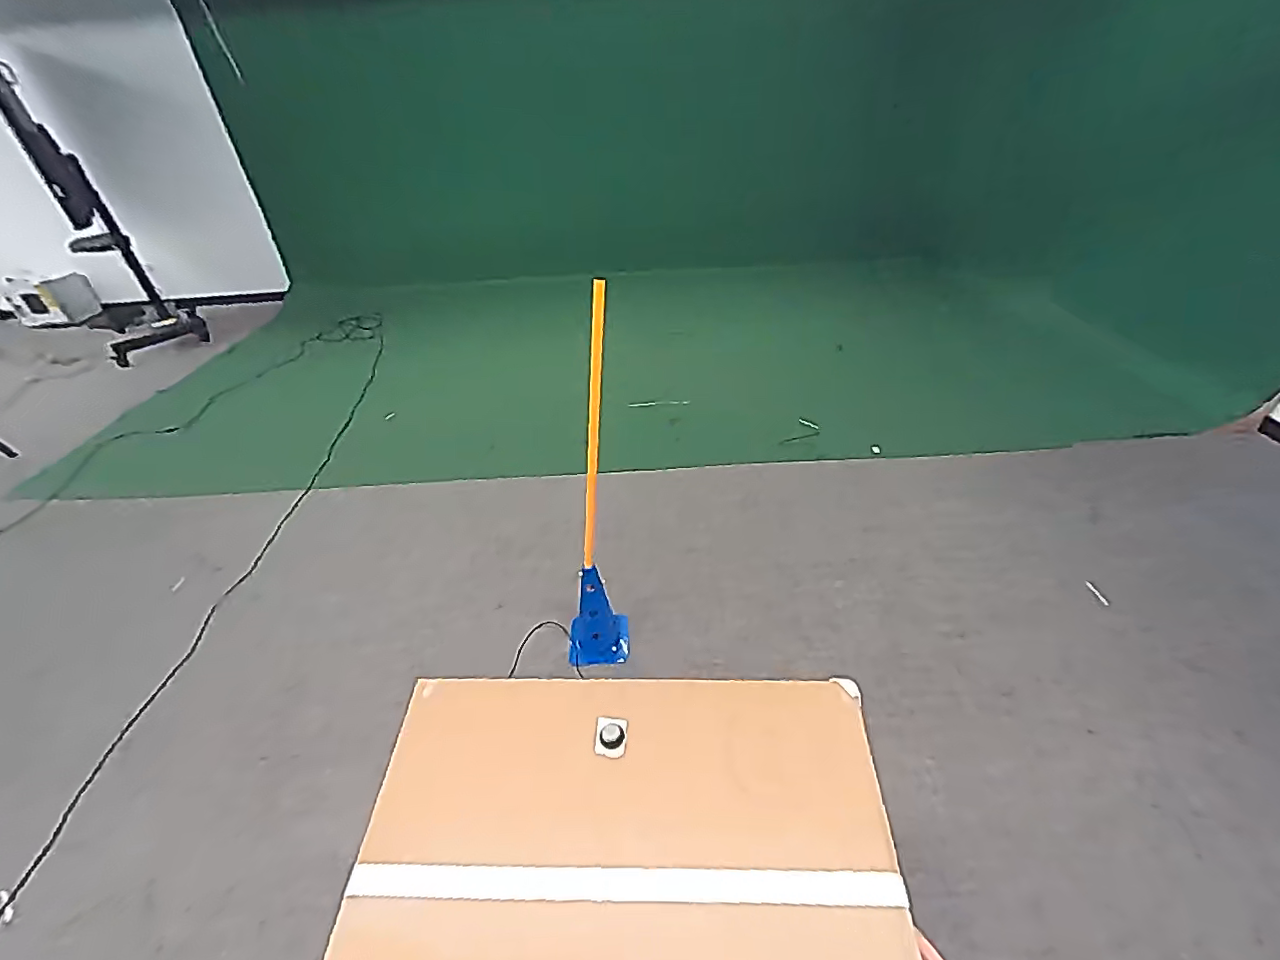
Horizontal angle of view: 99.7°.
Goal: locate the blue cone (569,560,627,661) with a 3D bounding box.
[{"bbox_3d":[-0.147,0.395,1.730,0.193,0.380,0.192,-3,37,-2],"label":"blue cone"}]
